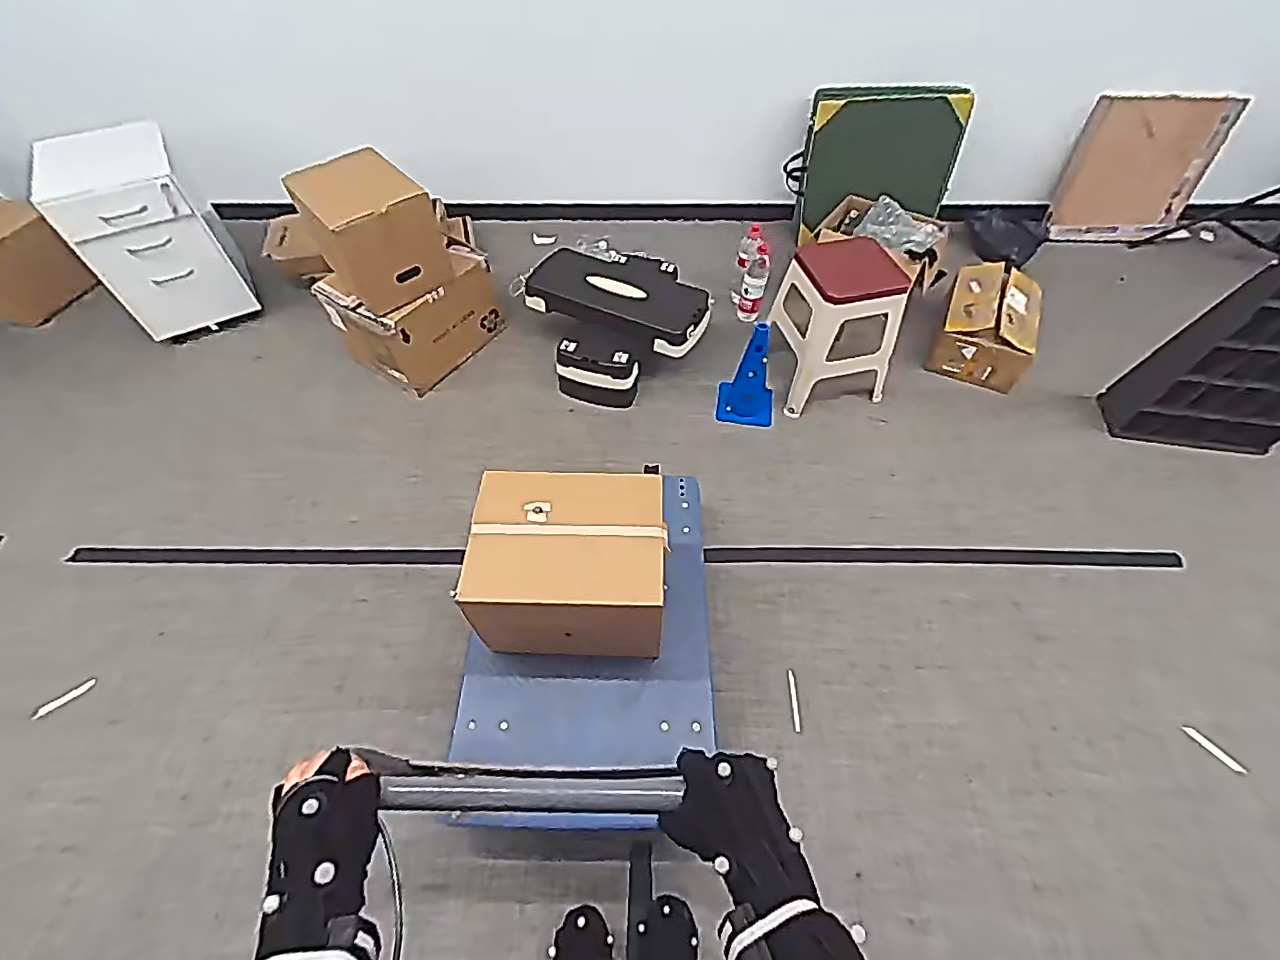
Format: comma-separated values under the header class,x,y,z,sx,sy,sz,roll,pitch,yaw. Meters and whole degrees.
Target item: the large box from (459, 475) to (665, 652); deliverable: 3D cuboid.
class,x,y,z,sx,sy,sz,roll,pitch,yaw
large box,-0.148,0.200,1.252,0.408,0.320,0.320,1,54,2
